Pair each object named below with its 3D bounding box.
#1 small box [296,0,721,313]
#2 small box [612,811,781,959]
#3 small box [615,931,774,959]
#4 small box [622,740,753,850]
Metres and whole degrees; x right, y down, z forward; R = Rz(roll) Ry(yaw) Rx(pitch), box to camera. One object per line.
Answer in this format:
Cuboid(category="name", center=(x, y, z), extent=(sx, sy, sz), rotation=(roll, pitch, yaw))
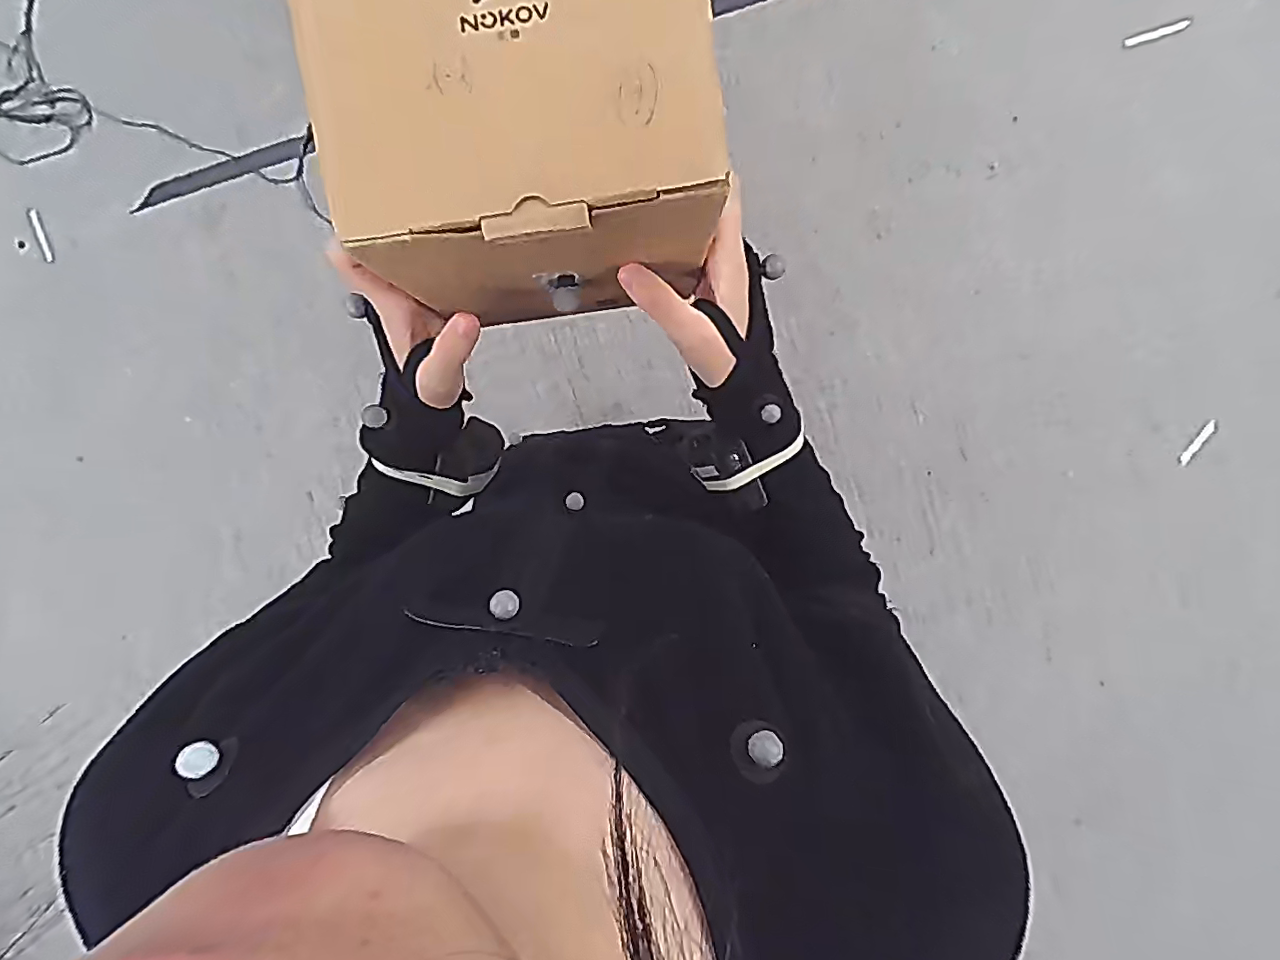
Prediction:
Cuboid(category="small box", center=(-0.056, -0.199, 0.298), extent=(0.168, 0.176, 0.179), rotation=(-8, 95, 1))
Cuboid(category="small box", center=(0.075, 0.547, 0.662), extent=(0.179, 0.176, 0.168), rotation=(-13, 95, 3))
Cuboid(category="small box", center=(0.066, 0.565, 0.499), extent=(0.168, 0.176, 0.179), rotation=(-13, 95, 3))
Cuboid(category="small box", center=(0.081, 0.529, 0.823), extent=(0.179, 0.176, 0.168), rotation=(-13, 95, 4))
